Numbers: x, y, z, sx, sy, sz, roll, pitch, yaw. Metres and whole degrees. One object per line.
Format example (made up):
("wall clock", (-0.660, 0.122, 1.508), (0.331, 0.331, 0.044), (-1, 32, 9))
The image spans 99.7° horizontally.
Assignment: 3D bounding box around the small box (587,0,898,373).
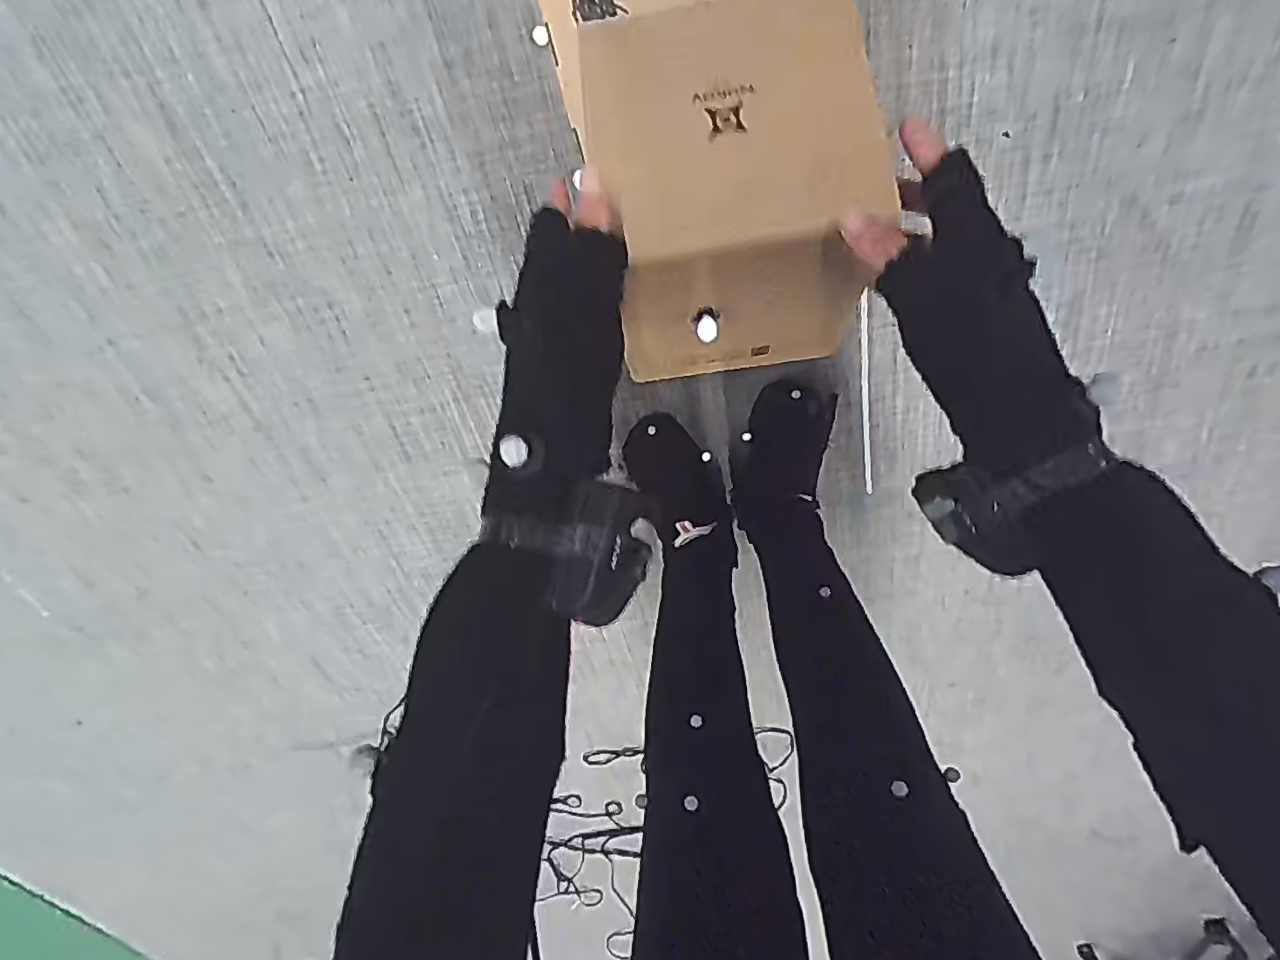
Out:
("small box", (0.063, -0.188, 0.392), (0.168, 0.176, 0.179), (-6, 79, 6))
